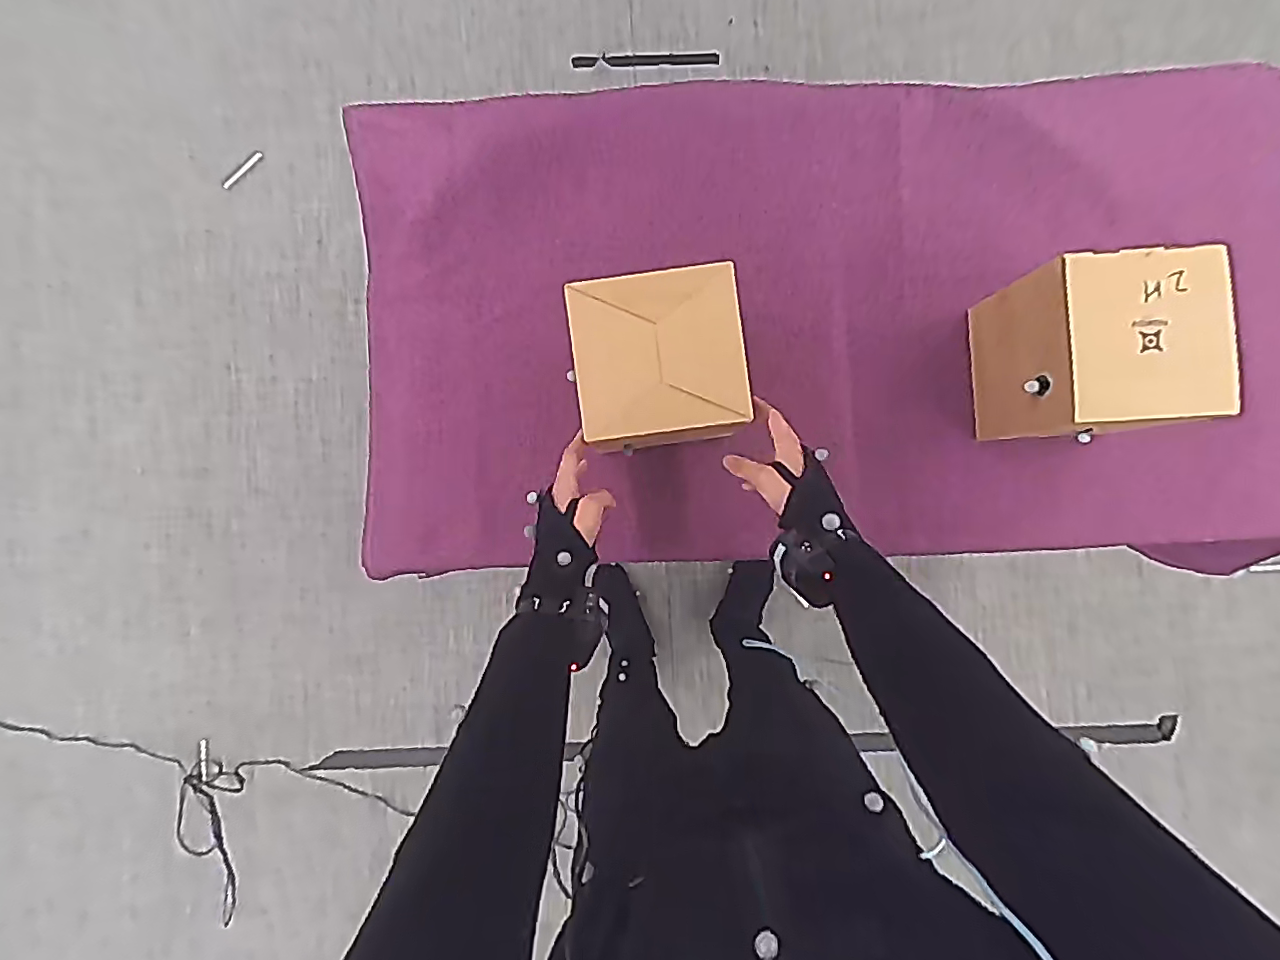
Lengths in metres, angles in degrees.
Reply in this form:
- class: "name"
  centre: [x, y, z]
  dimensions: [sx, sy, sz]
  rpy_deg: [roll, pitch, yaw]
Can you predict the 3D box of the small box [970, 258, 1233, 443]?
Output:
- class: "small box"
  centre: [0.515, -0.135, 0.629]
  dimensions: [0.168, 0.176, 0.179]
  rpy_deg: [-3, 88, 1]
